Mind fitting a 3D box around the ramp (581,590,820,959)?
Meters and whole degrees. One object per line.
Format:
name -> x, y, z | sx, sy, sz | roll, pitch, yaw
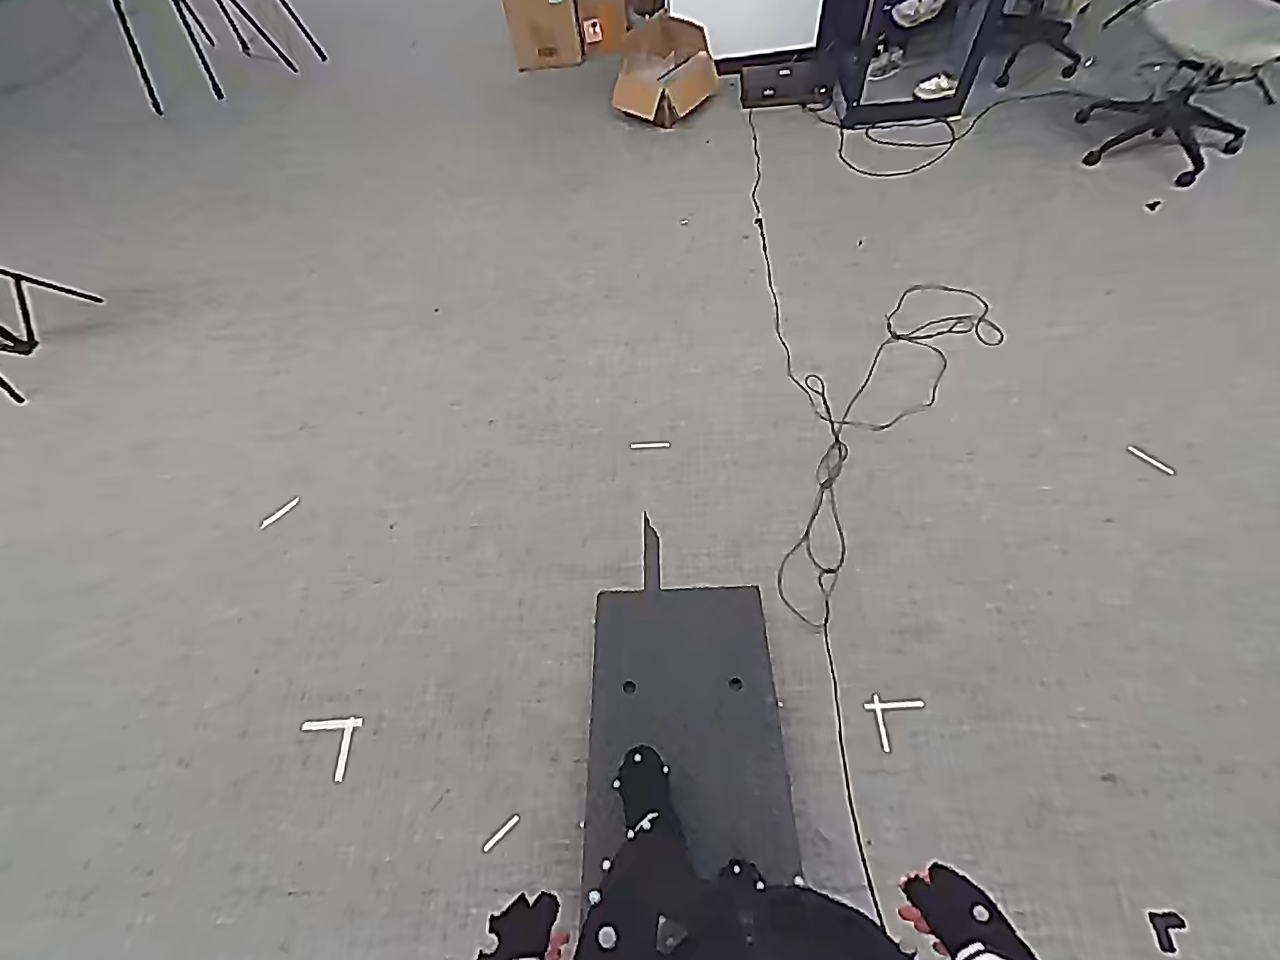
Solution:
ramp -> 0.117, 0.728, 1.319 | 0.509, 0.206, 0.991 | -6, 59, 4
